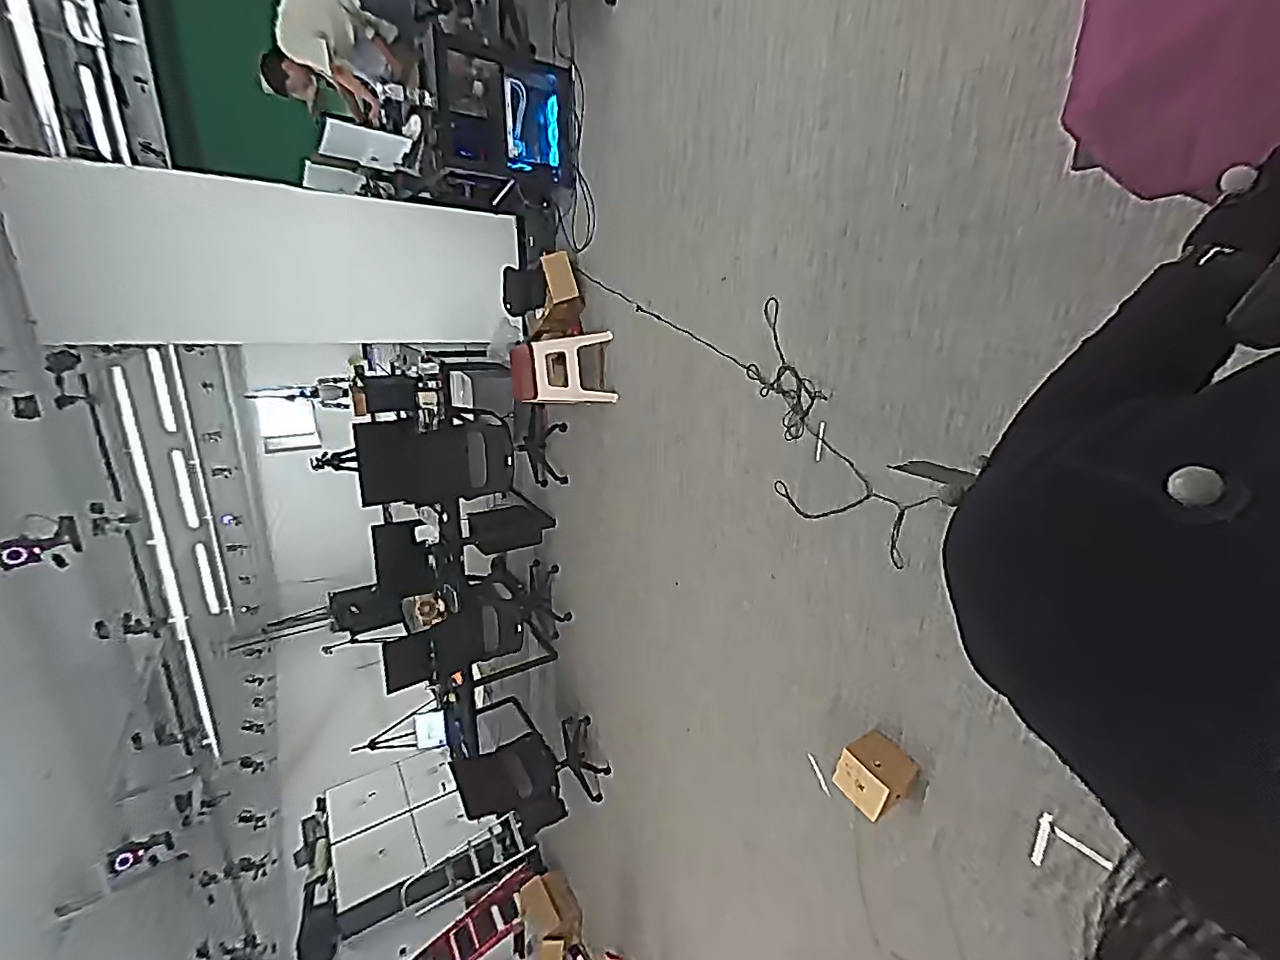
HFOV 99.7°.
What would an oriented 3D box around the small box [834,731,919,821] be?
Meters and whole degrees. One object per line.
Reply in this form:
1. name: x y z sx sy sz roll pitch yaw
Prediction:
1. small box: 0.790 0.978 1.801 0.179 0.176 0.168 38 129 48
